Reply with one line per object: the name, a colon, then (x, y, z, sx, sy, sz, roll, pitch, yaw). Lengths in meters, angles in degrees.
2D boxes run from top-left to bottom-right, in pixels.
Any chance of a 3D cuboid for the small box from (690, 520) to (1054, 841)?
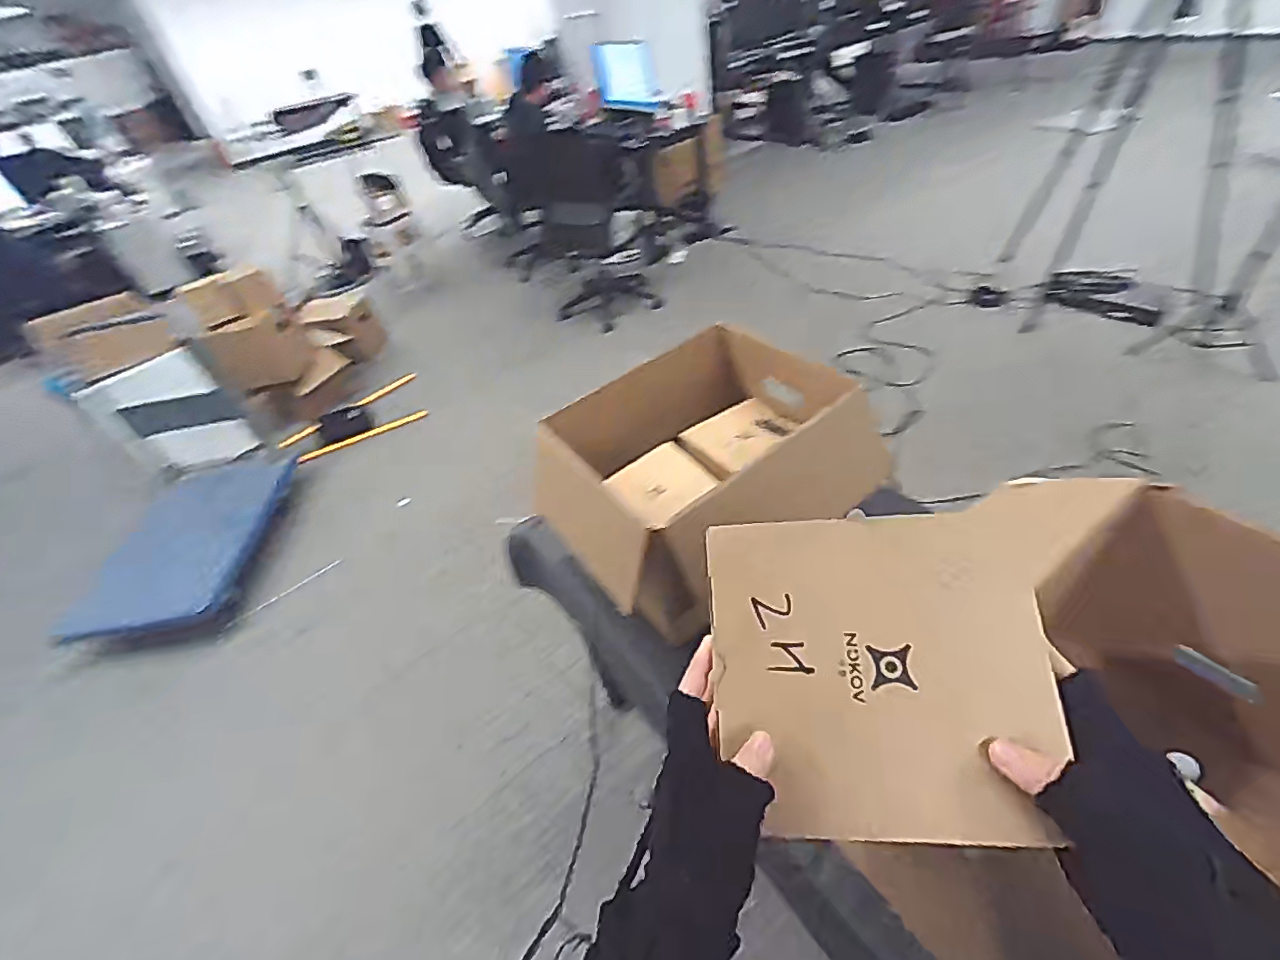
small box: (0.130, 0.130, 0.376, 0.179, 0.176, 0.168, -4, 70, 9)
